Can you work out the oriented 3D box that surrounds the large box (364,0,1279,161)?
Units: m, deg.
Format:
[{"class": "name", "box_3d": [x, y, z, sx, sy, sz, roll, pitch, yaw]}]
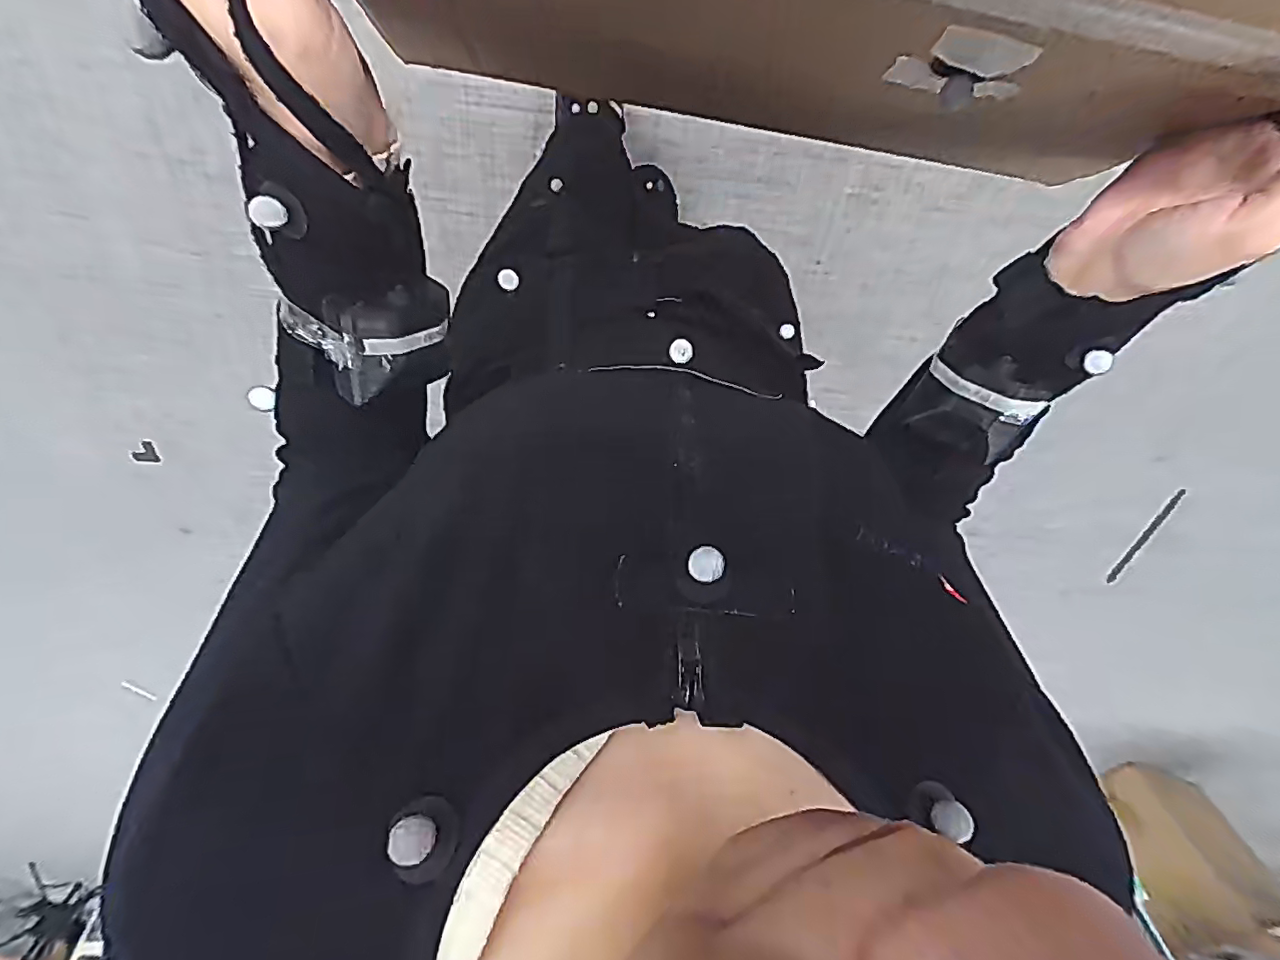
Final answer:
[{"class": "large box", "box_3d": [0.087, -0.329, 0.142, 0.408, 0.320, 0.320, 6, 105, -5]}]
